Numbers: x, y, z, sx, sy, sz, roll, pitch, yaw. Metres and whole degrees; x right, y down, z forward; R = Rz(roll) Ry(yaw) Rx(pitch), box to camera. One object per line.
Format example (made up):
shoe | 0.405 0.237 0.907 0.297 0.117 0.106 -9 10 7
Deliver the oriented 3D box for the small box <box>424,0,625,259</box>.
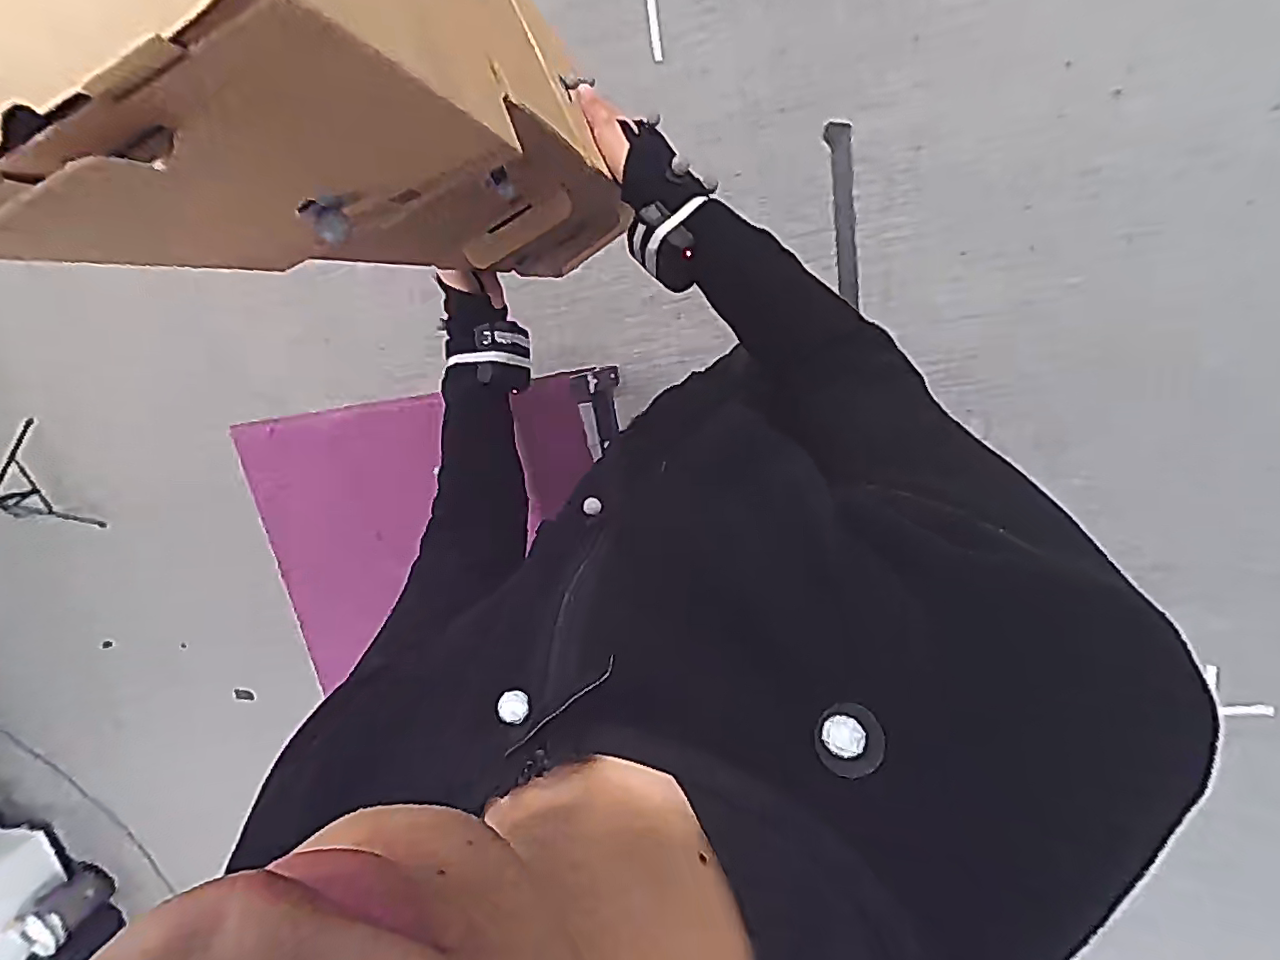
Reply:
small box | -0.131 -0.322 0.495 0.168 0.176 0.179 -24 103 16

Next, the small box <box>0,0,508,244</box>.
small box | -0.175 -0.204 0.192 0.168 0.176 0.179 -16 106 14

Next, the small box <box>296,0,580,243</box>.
small box | -0.158 -0.270 0.343 0.168 0.176 0.179 -23 104 15
